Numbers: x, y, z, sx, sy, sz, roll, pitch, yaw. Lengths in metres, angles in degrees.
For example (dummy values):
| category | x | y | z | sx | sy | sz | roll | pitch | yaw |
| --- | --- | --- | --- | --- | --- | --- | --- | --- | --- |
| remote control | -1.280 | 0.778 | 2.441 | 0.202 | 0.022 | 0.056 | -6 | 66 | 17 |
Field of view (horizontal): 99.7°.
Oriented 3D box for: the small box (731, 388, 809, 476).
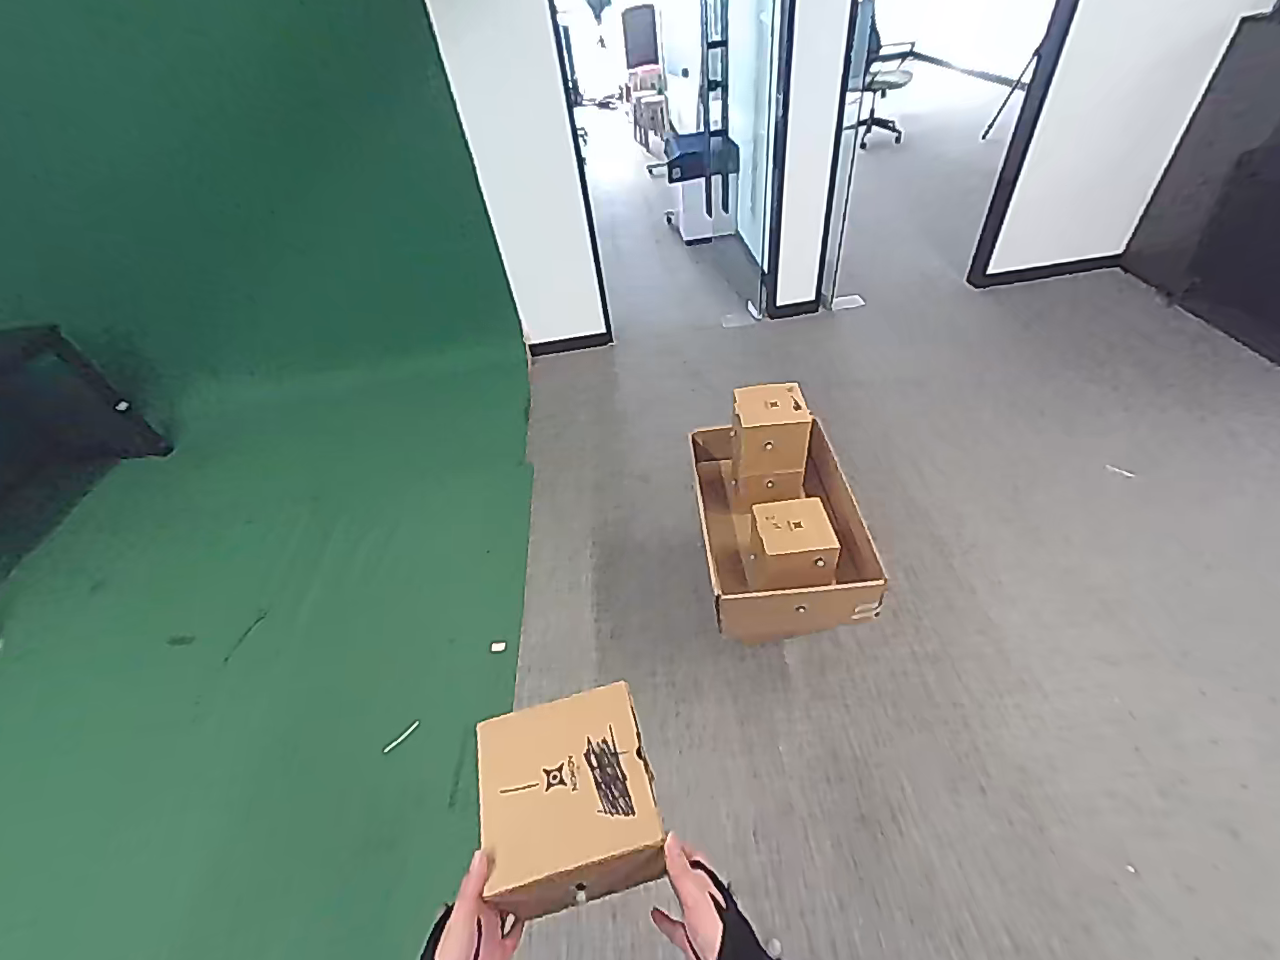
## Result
| category | x | y | z | sx | sy | sz | roll | pitch | yaw |
| --- | --- | --- | --- | --- | --- | --- | --- | --- | --- |
| small box | 0.343 | -0.126 | 1.456 | 0.179 | 0.176 | 0.168 | -5 | 46 | 4 |

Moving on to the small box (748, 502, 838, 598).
| category | x | y | z | sx | sy | sz | roll | pitch | yaw |
| --- | --- | --- | --- | --- | --- | --- | --- | --- | --- |
| small box | 0.378 | 0.179 | 1.370 | 0.179 | 0.176 | 0.168 | -7 | 44 | 1 |

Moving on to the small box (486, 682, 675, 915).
| category | x | y | z | sx | sy | sz | roll | pitch | yaw |
| --- | --- | --- | --- | --- | --- | --- | --- | --- | --- |
| small box | -0.065 | 0.361 | 0.615 | 0.179 | 0.176 | 0.168 | -13 | 45 | -7 |

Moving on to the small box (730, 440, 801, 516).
| category | x | y | z | sx | sy | sz | roll | pitch | yaw |
| --- | --- | --- | --- | --- | --- | --- | --- | --- | --- |
| small box | 0.356 | -0.008 | 1.570 | 0.179 | 0.176 | 0.168 | -3 | 45 | 3 |
